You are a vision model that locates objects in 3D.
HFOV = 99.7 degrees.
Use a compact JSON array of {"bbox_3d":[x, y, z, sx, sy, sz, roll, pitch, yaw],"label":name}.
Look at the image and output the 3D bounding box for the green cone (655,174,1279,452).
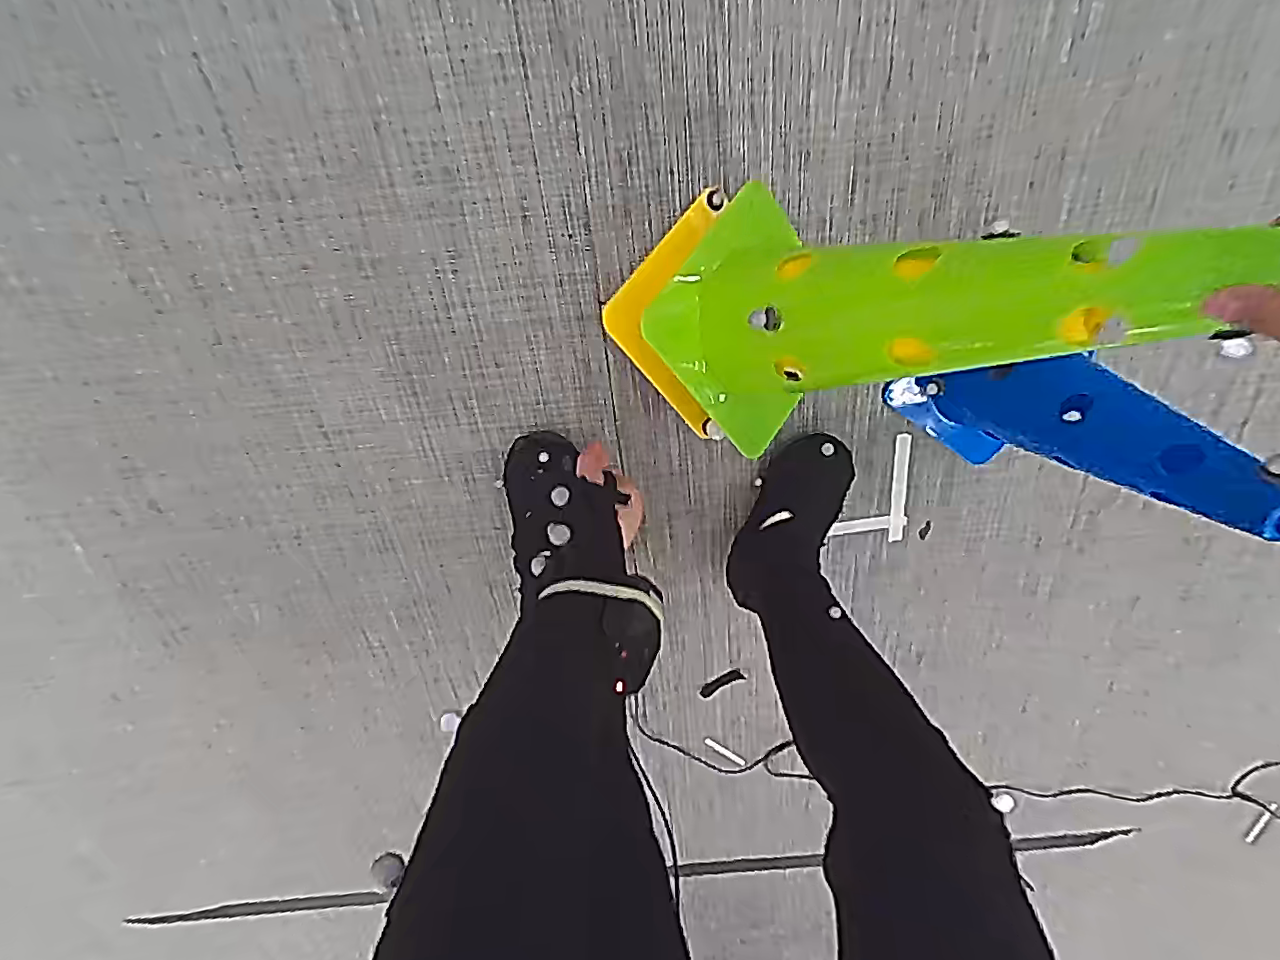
[{"bbox_3d":[0.210,-0.125,0.382,0.200,0.368,0.202,45,77,-30],"label":"green cone"}]
